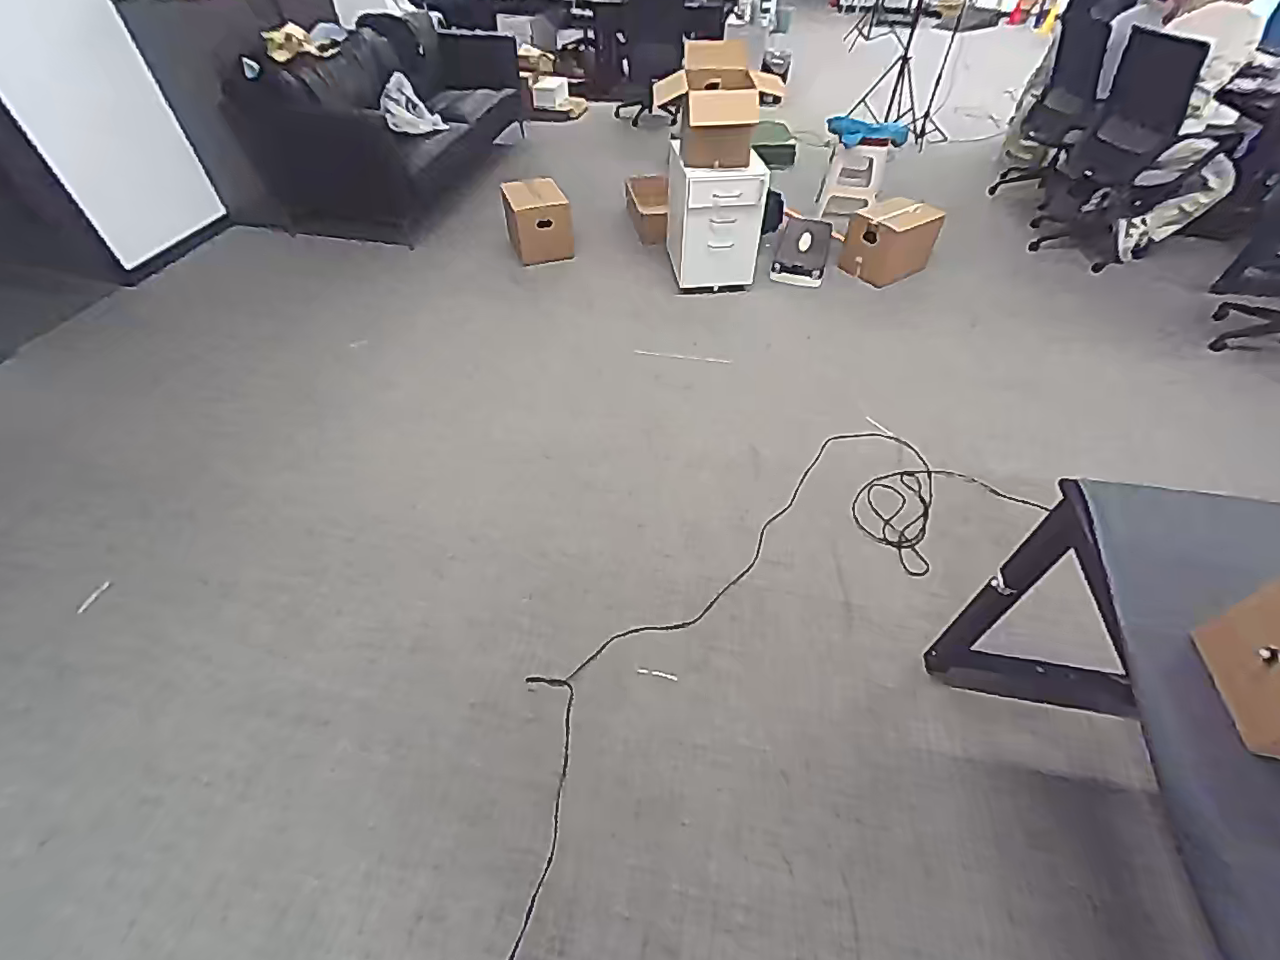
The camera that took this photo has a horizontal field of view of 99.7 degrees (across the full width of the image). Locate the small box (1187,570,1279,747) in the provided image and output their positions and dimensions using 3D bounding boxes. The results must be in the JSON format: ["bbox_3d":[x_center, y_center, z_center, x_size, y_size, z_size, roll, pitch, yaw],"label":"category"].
[{"bbox_3d":[0.889,0.247,0.699,0.168,0.176,0.179,10,48,7],"label":"small box"}]
